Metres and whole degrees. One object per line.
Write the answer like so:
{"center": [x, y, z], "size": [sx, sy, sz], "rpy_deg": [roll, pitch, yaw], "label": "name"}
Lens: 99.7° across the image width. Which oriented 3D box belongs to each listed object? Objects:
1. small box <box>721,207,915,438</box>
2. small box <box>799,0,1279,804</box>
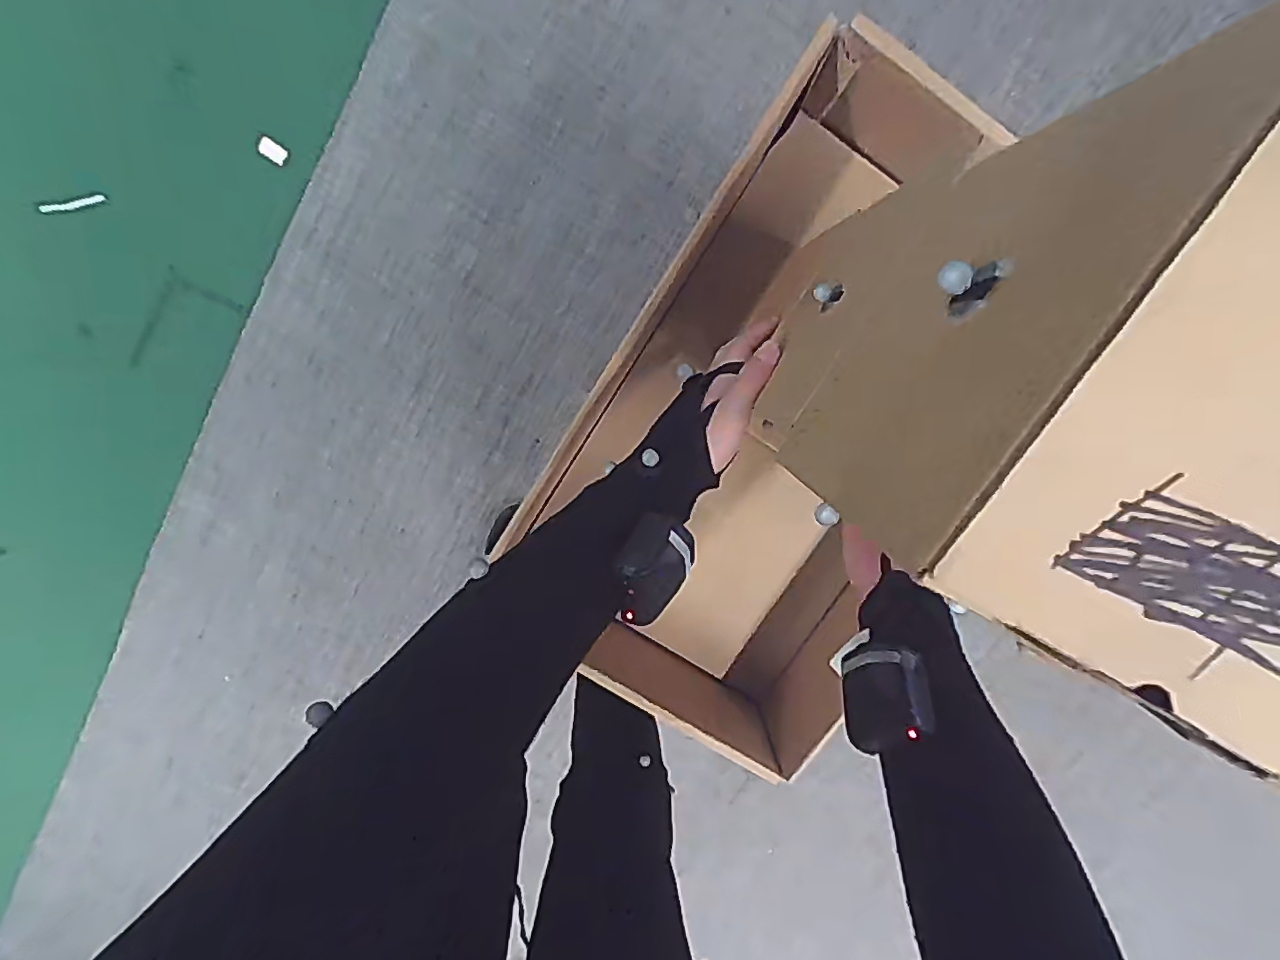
{"center": [0.196, -0.124, 0.528], "size": [0.168, 0.176, 0.179], "rpy_deg": [31, 102, -8], "label": "small box"}
{"center": [0.185, -0.024, 0.214], "size": [0.168, 0.176, 0.179], "rpy_deg": [29, 102, -7], "label": "small box"}
